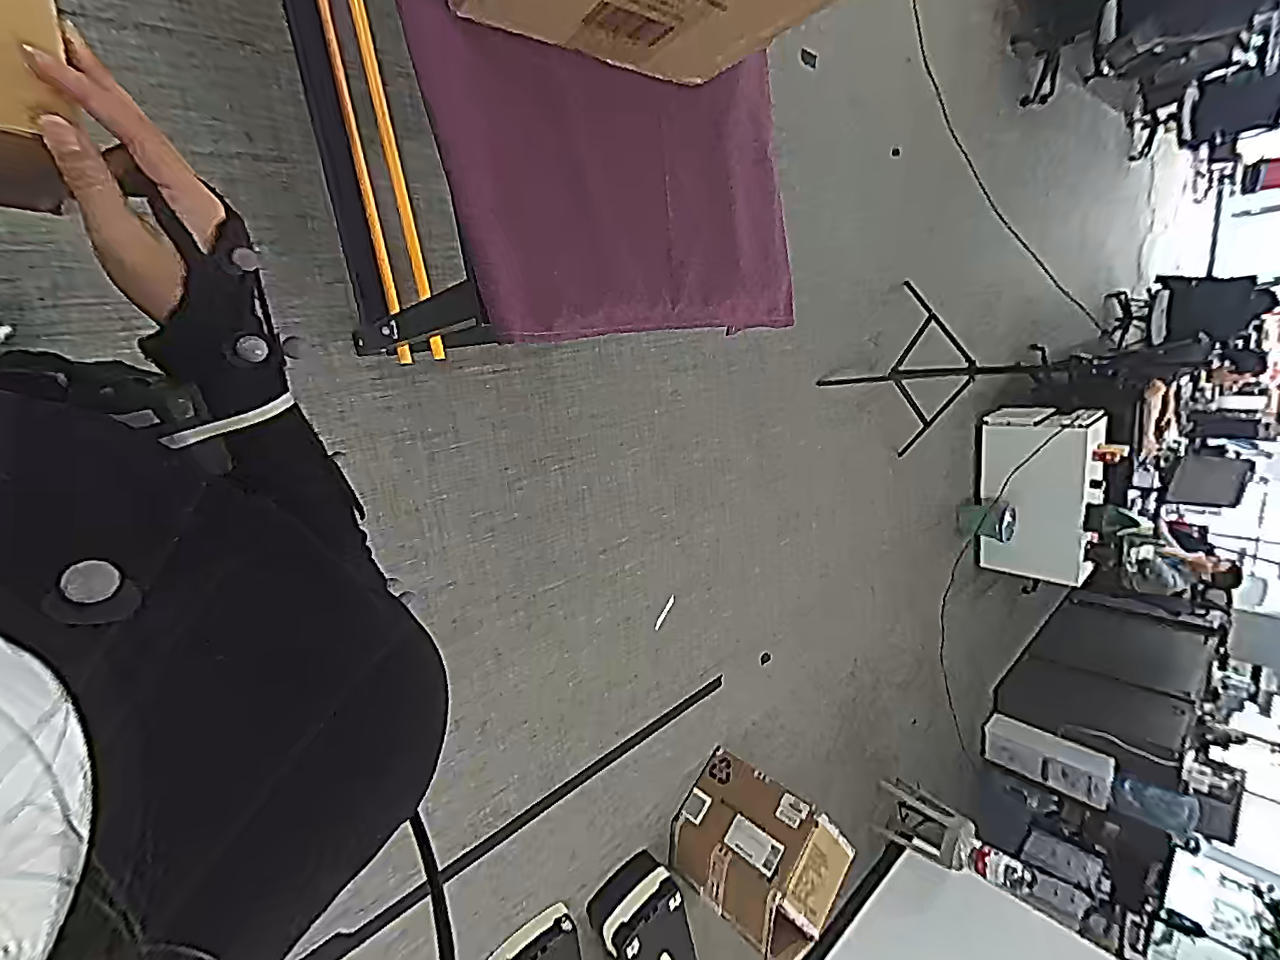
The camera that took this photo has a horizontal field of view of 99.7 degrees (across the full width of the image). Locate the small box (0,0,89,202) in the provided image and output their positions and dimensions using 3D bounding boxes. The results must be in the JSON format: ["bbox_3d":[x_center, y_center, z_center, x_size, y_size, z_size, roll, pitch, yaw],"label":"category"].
[{"bbox_3d":[-0.396,-0.244,0.248,0.179,0.176,0.168,-12,106,-46],"label":"small box"}]
